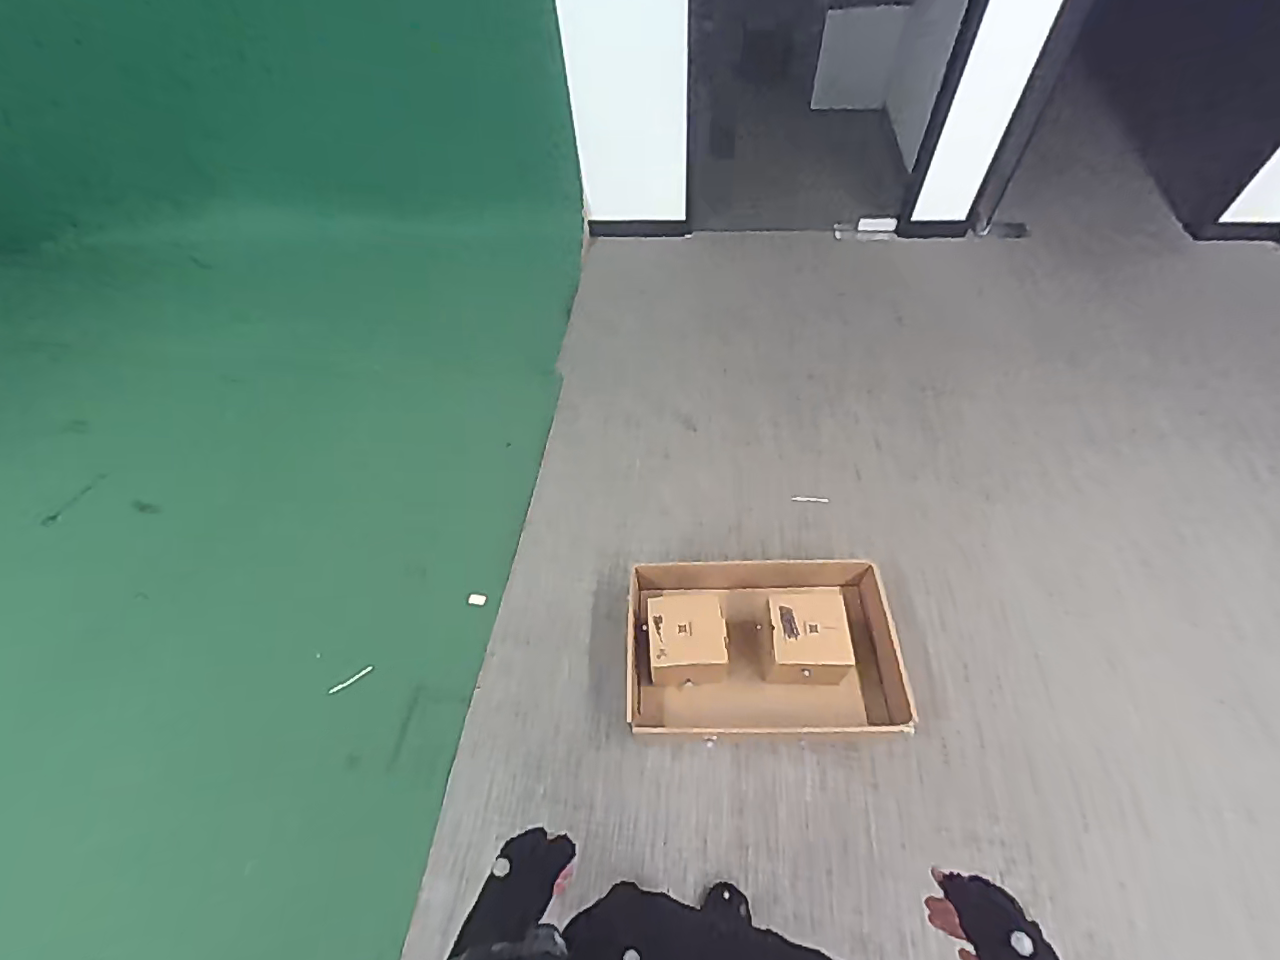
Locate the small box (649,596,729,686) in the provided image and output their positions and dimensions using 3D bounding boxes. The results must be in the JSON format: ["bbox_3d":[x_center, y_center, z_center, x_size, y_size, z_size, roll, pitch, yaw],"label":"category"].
[{"bbox_3d":[0.113,0.394,1.316,0.179,0.176,0.168,-3,54,0],"label":"small box"}]

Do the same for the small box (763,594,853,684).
[{"bbox_3d":[0.393,0.386,1.301,0.179,0.176,0.168,0,55,5],"label":"small box"}]
